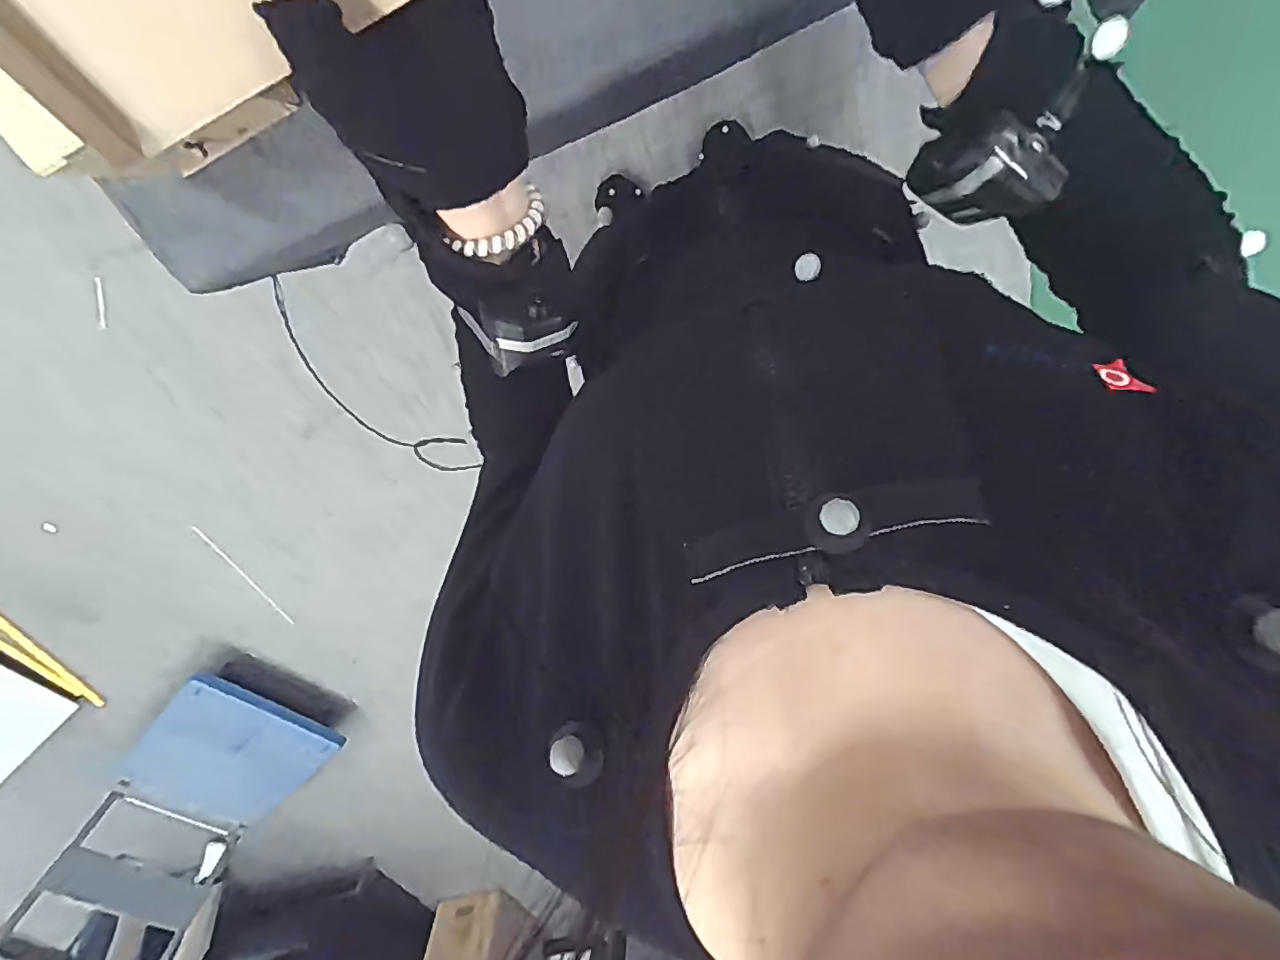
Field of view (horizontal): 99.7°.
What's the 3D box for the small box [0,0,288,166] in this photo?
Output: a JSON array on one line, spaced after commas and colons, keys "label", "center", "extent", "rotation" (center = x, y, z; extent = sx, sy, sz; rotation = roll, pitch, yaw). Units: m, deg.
[{"label": "small box", "center": [-0.461, -0.393, 0.462], "extent": [0.168, 0.176, 0.179], "rotation": [-21, 119, 12]}]
